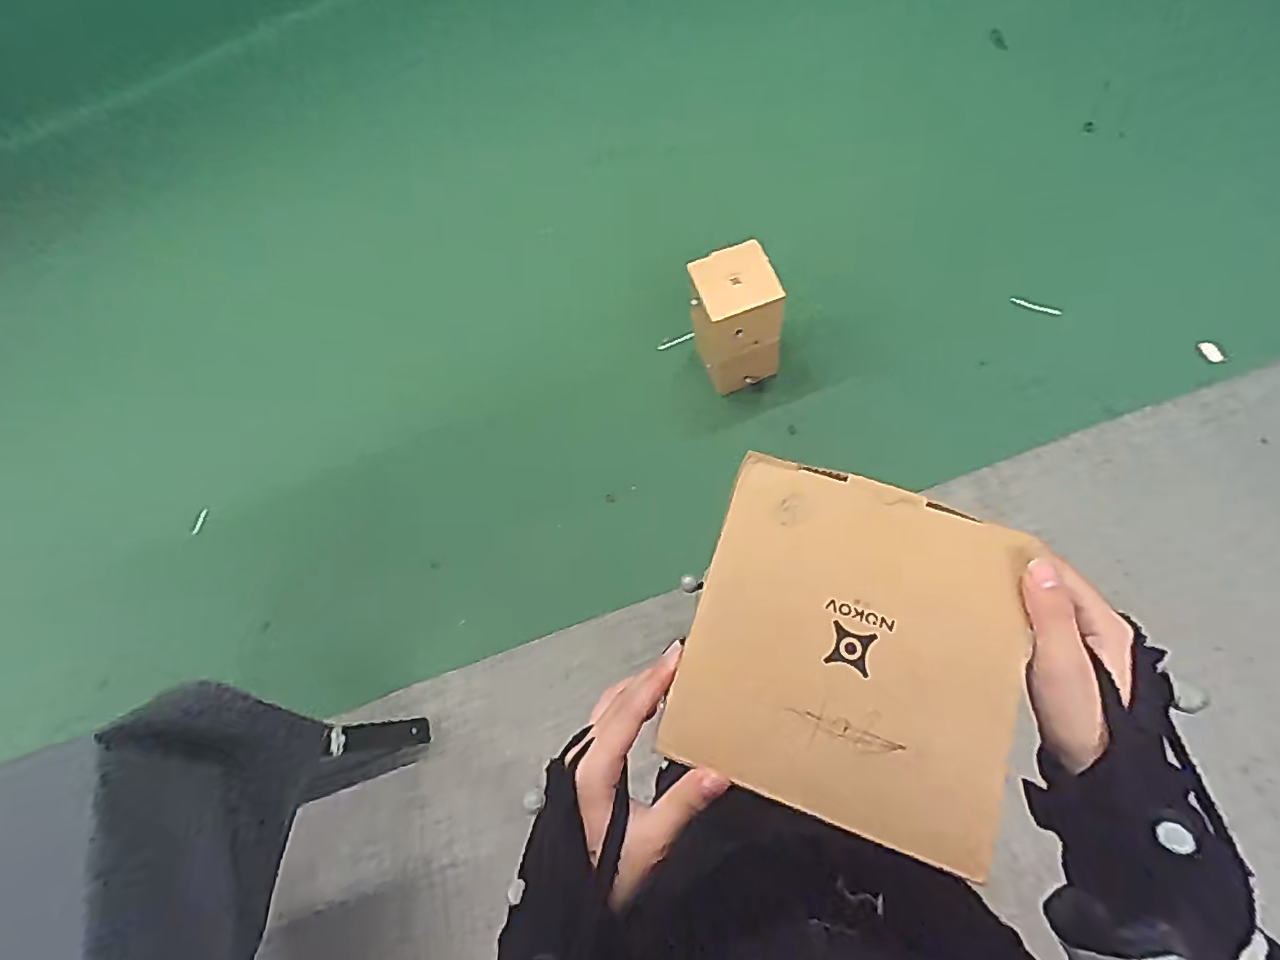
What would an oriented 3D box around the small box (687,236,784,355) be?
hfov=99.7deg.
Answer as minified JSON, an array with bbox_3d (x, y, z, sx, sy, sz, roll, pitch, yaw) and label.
[{"bbox_3d":[0.221,-0.414,1.248,0.168,0.176,0.179,-20,67,4],"label":"small box"}]
